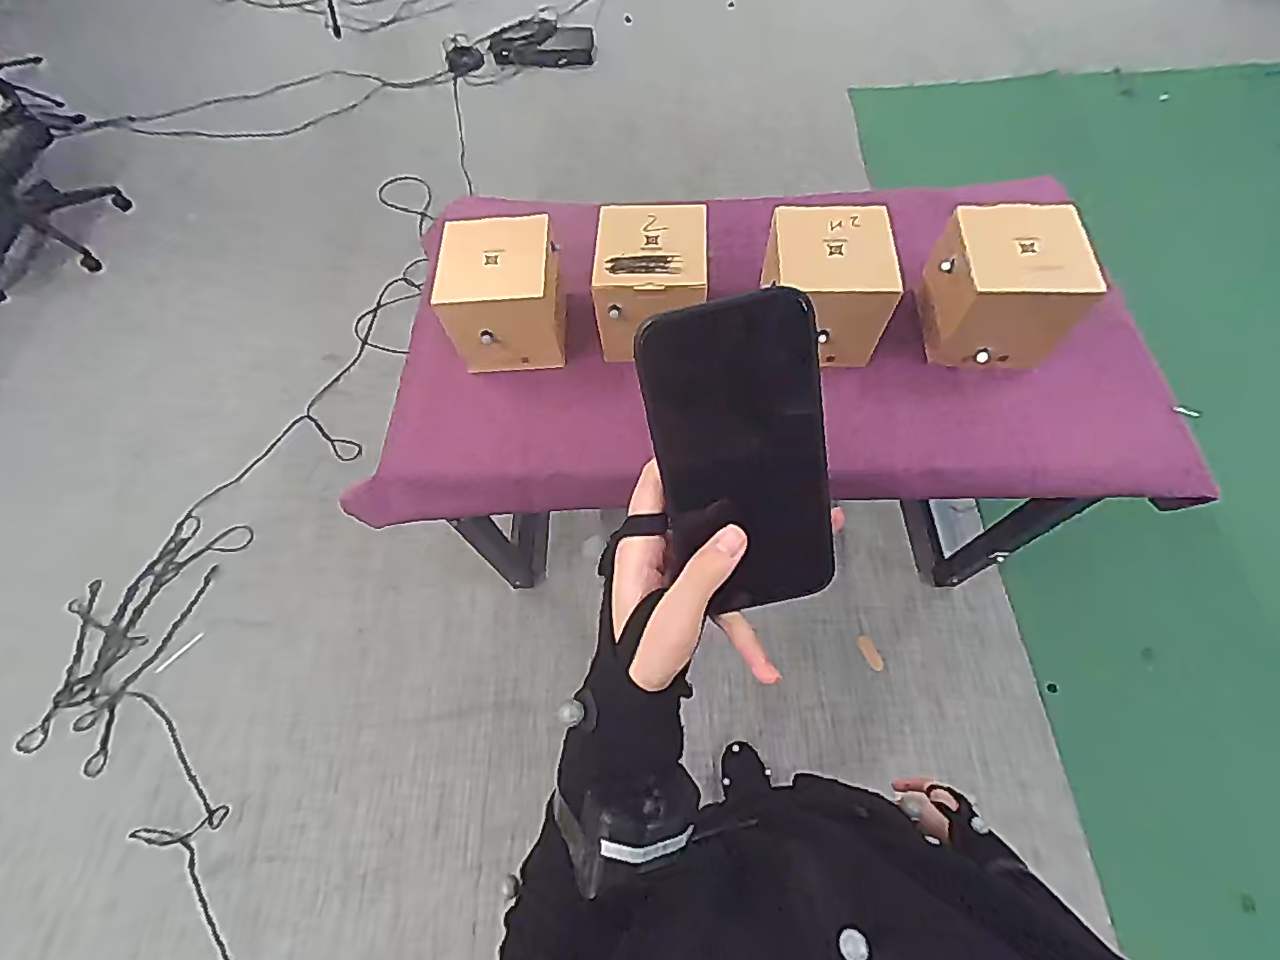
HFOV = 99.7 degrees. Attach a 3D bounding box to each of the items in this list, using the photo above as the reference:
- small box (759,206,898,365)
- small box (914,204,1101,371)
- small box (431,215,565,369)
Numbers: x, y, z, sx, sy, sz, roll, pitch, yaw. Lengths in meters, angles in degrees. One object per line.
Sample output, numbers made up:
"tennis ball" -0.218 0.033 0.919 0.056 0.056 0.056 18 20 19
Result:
"small box" 0.282 -0.298 0.848 0.168 0.176 0.179 2 63 4
"small box" 0.542 -0.291 0.829 0.168 0.176 0.179 3 64 6
"small box" -0.218 -0.295 0.879 0.168 0.176 0.179 -4 62 2
